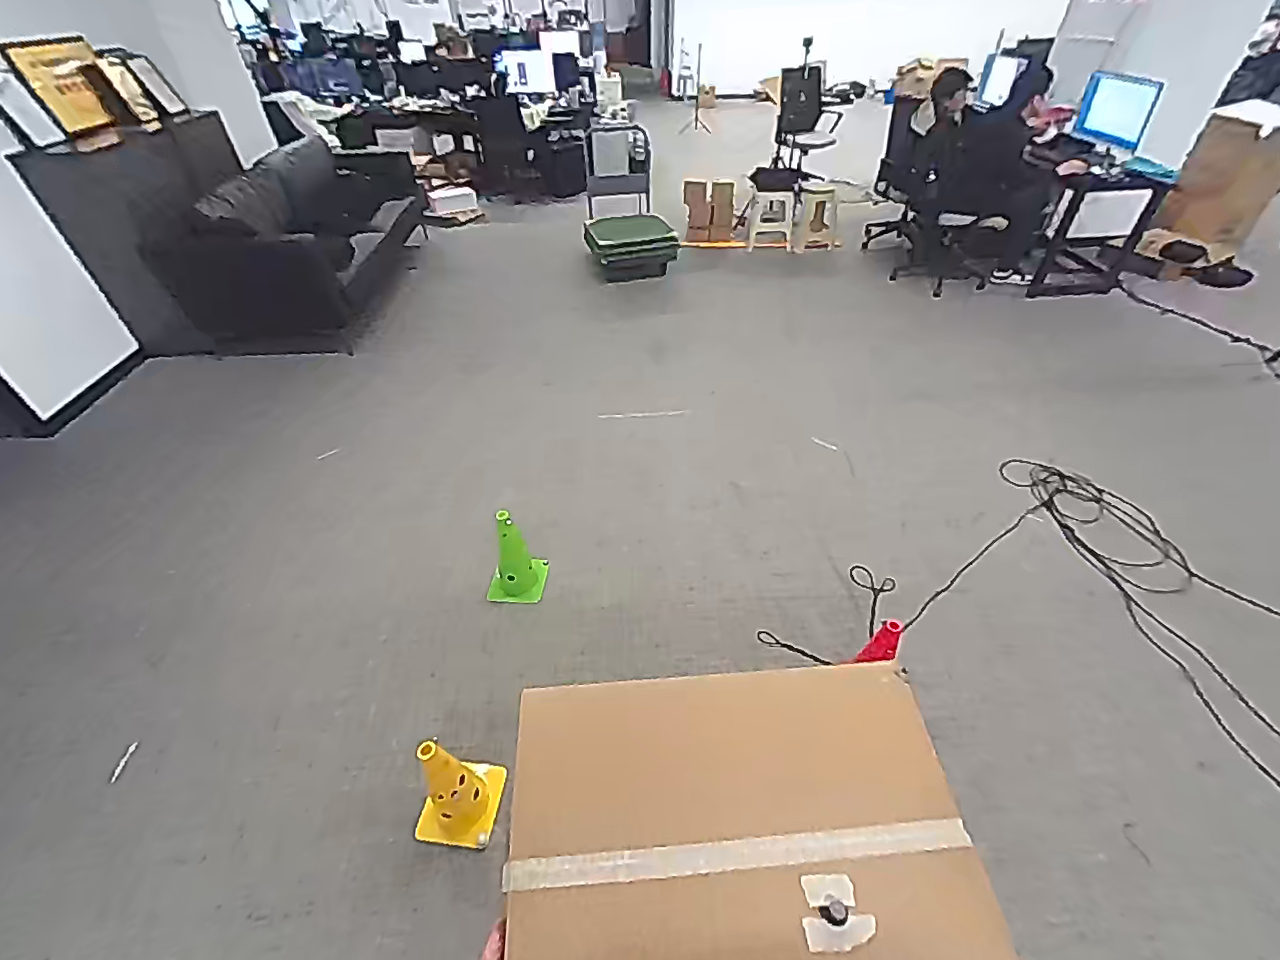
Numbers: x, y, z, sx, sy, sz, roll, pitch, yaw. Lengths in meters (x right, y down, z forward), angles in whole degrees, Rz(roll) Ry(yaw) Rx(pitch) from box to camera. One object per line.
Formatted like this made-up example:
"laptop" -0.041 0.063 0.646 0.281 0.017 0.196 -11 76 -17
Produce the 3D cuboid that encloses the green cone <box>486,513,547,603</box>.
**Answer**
"green cone" -0.464 0.249 1.913 0.200 0.368 0.202 1 43 3

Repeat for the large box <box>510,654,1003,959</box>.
"large box" 0.084 0.418 0.600 0.408 0.320 0.320 -3 51 -3
